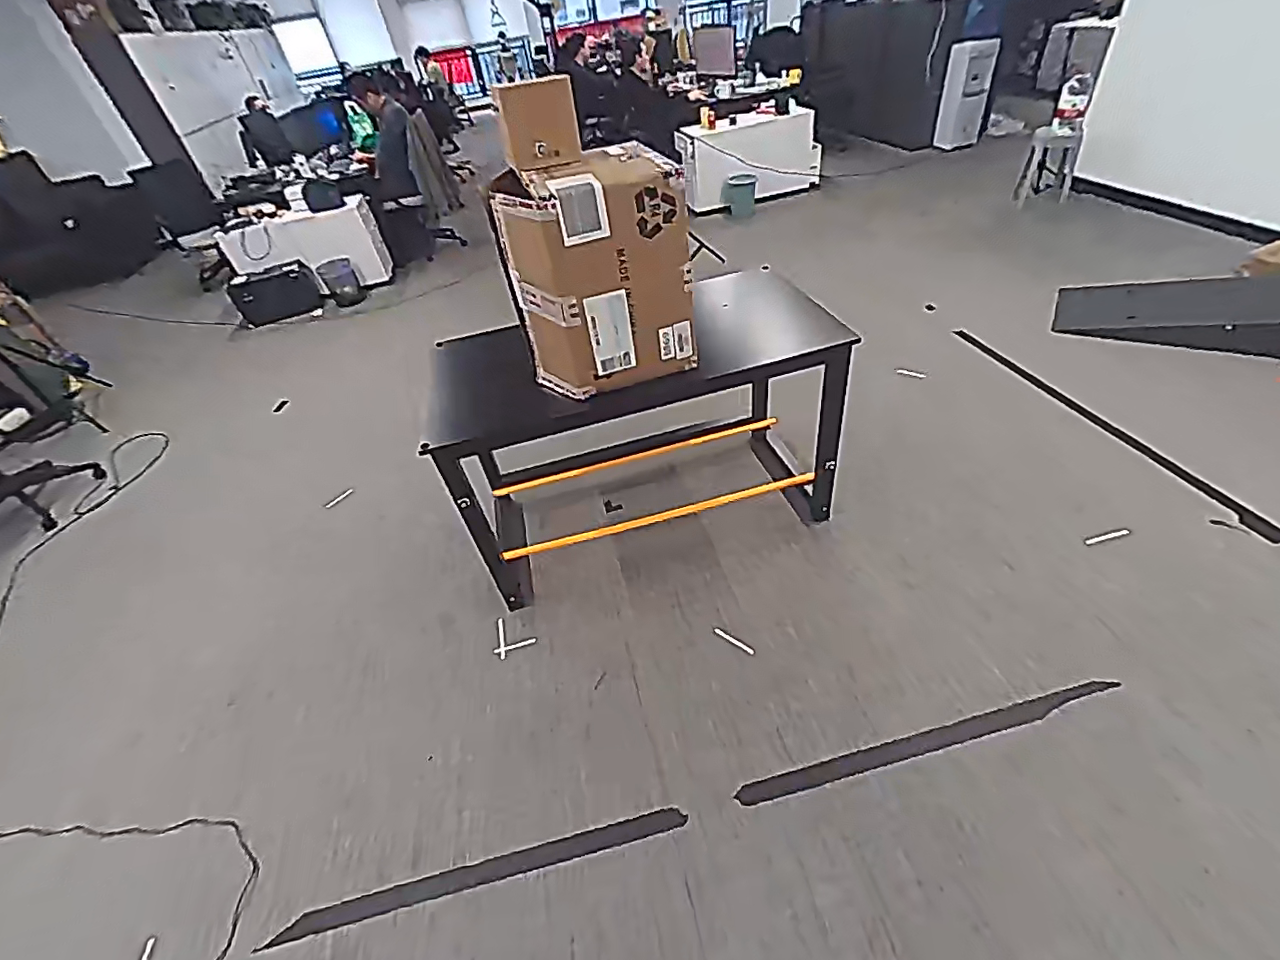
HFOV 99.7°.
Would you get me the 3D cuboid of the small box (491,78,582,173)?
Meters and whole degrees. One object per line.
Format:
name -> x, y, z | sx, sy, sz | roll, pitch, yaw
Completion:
small box -> -0.249, -0.851, 1.300 | 0.168, 0.176, 0.179 | -18, 40, -10
